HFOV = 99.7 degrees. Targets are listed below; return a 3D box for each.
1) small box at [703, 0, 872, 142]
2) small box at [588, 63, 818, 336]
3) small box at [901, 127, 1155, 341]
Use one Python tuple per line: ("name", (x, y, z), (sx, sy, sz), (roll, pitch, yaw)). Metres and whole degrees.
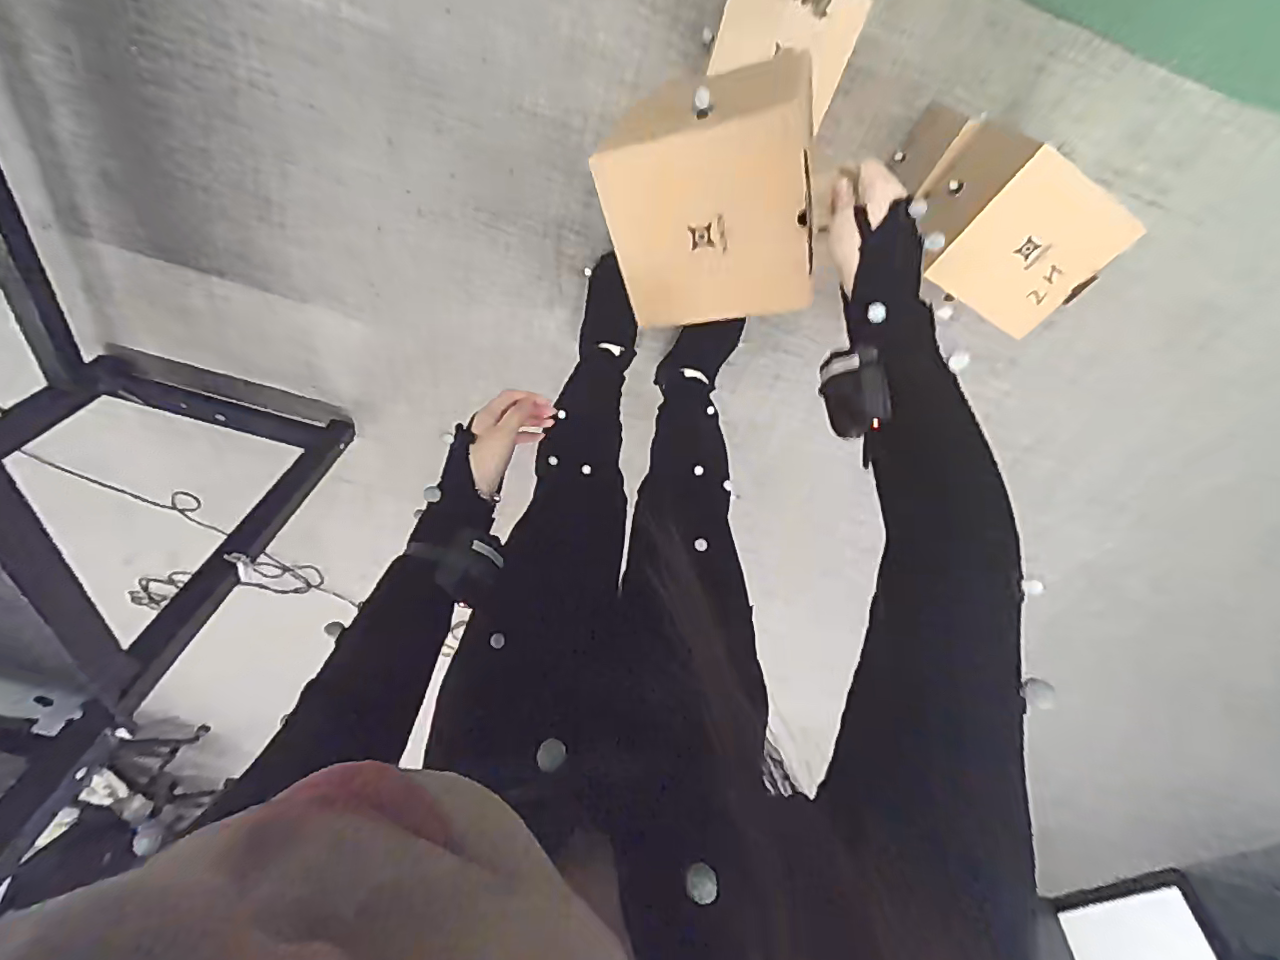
("small box", (0.180, -0.562, 0.732), (0.168, 0.176, 0.179), (15, 130, -6))
("small box", (0.074, -0.259, 0.510), (0.179, 0.176, 0.168), (-3, 136, 18))
("small box", (0.471, -0.317, 0.689), (0.179, 0.176, 0.168), (25, 130, -15))
